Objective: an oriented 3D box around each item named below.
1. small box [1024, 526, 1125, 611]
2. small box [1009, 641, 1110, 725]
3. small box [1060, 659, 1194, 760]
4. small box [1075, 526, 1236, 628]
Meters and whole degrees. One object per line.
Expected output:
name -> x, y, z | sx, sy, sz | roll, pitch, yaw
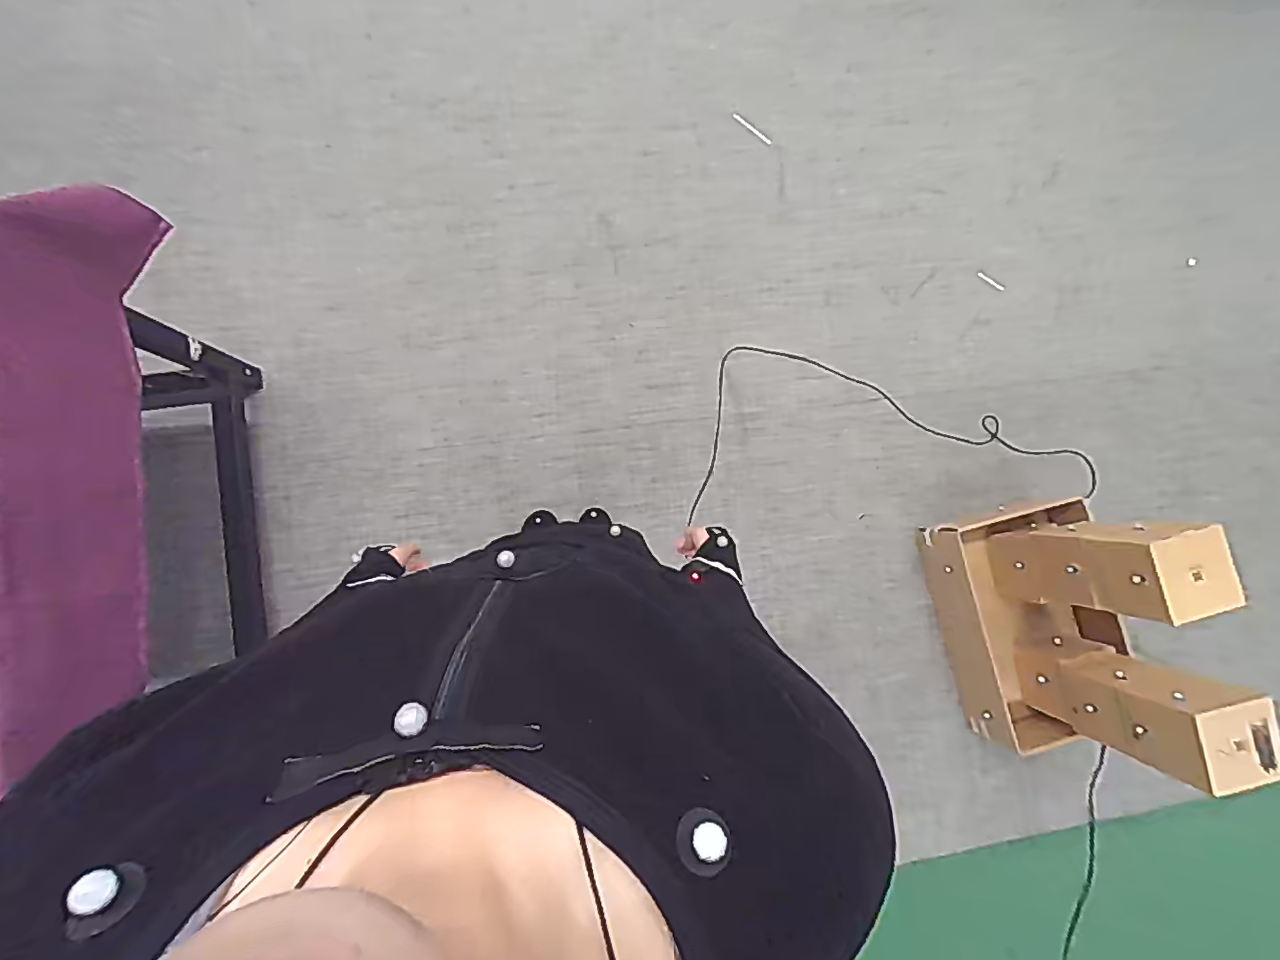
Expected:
small box -> 1.101, 0.213, 1.345 | 0.168, 0.176, 0.179 | -10, 88, -4
small box -> 1.161, 0.551, 1.489 | 0.168, 0.176, 0.179 | -10, 86, -6
small box -> 1.176, 0.554, 1.325 | 0.179, 0.176, 0.168 | -10, 88, -6
small box -> 1.114, 0.203, 1.183 | 0.168, 0.176, 0.179 | -15, 87, -4
